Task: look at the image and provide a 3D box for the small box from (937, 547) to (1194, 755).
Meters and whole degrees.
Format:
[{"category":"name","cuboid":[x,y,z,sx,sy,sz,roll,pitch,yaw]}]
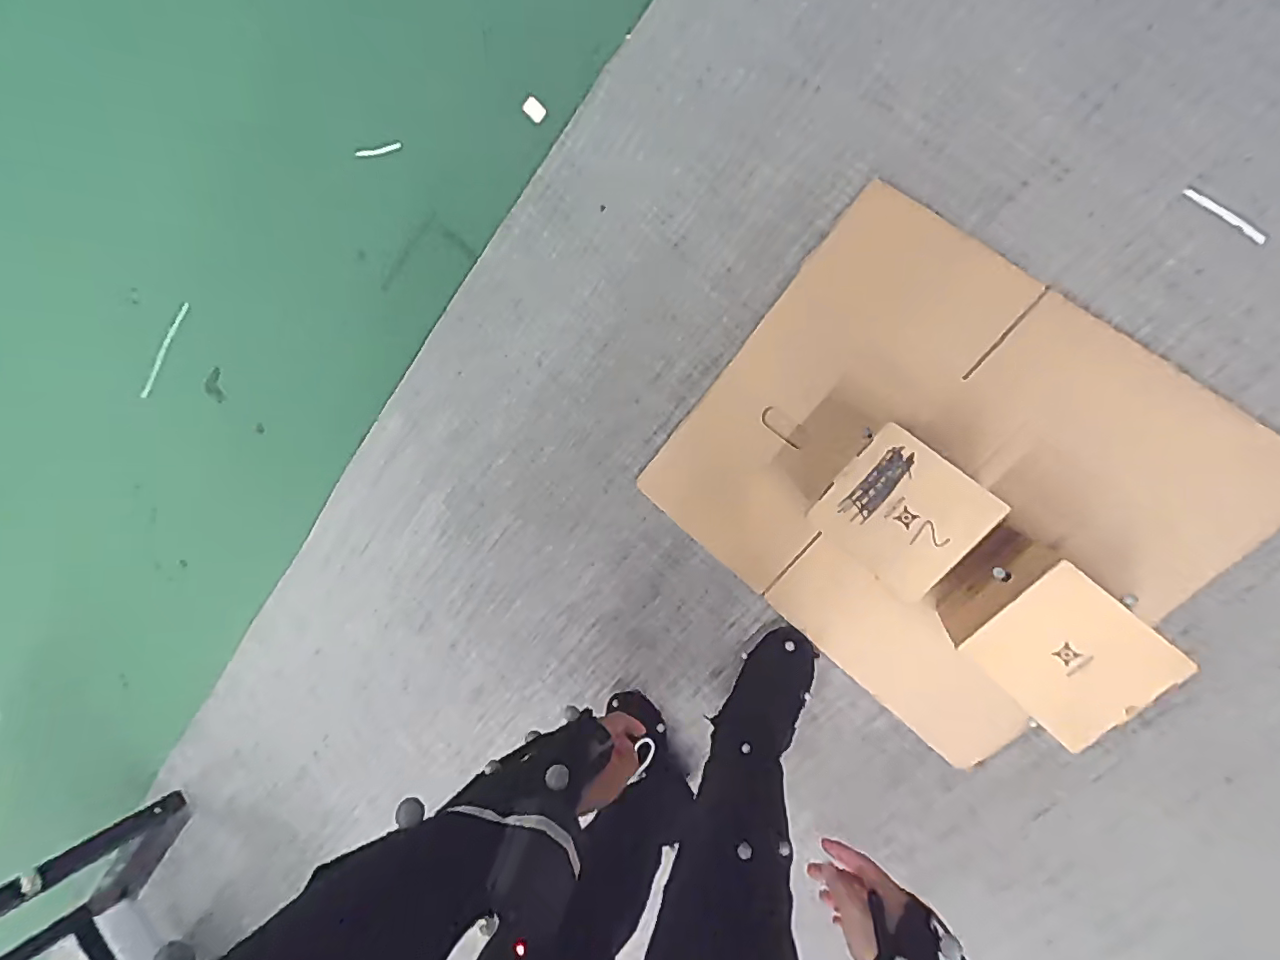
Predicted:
[{"category":"small box","cuboid":[0.525,0.204,0.706,0.179,0.176,0.168,43,107,11]}]
